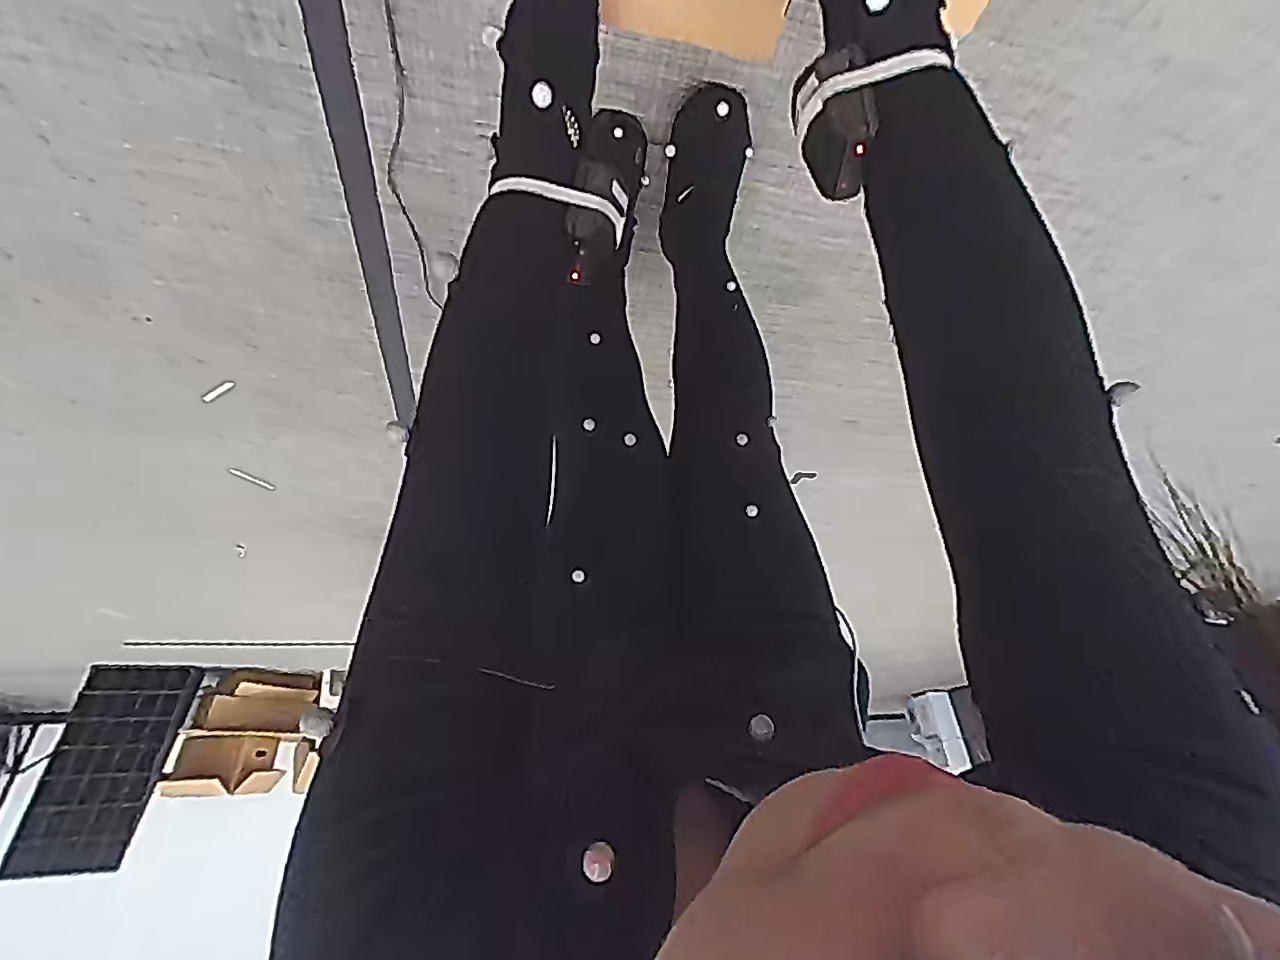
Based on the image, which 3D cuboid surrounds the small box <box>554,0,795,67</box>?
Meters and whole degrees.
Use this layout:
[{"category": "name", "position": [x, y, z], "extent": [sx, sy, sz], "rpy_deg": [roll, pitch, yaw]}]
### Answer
[{"category": "small box", "position": [0.034, -0.447, 0.391], "extent": [0.179, 0.176, 0.168], "rpy_deg": [4, 148, -12]}]

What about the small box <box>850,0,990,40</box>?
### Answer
[{"category": "small box", "position": [0.273, -0.578, 0.522], "extent": [0.179, 0.176, 0.168], "rpy_deg": [4, 148, -15]}]
